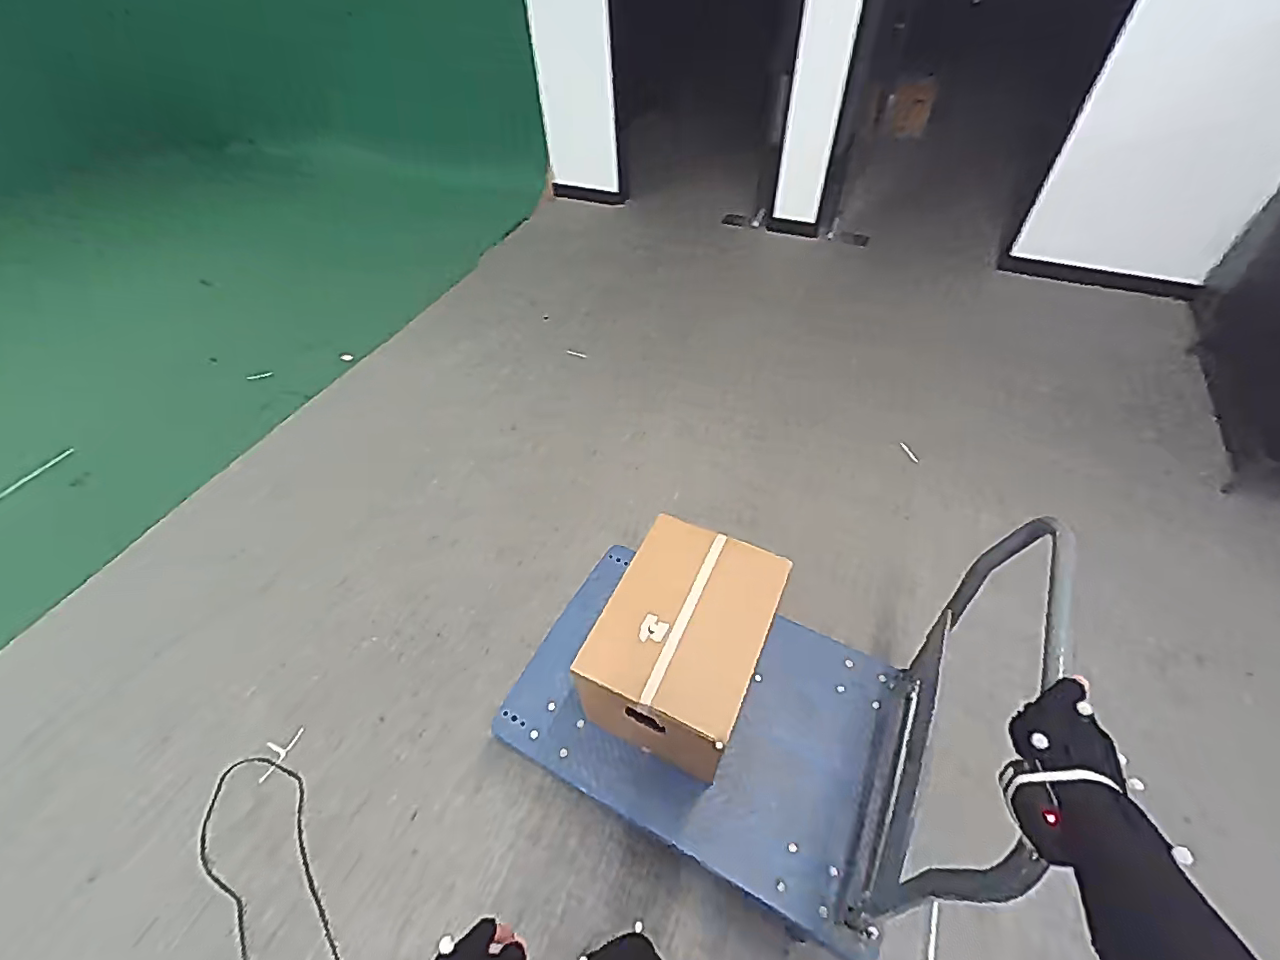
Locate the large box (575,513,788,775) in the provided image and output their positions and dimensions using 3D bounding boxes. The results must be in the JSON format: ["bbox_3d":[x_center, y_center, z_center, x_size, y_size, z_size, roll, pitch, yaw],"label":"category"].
[{"bbox_3d":[0.102,0.354,1.193,0.320,0.320,0.408,19,54,19],"label":"large box"}]
